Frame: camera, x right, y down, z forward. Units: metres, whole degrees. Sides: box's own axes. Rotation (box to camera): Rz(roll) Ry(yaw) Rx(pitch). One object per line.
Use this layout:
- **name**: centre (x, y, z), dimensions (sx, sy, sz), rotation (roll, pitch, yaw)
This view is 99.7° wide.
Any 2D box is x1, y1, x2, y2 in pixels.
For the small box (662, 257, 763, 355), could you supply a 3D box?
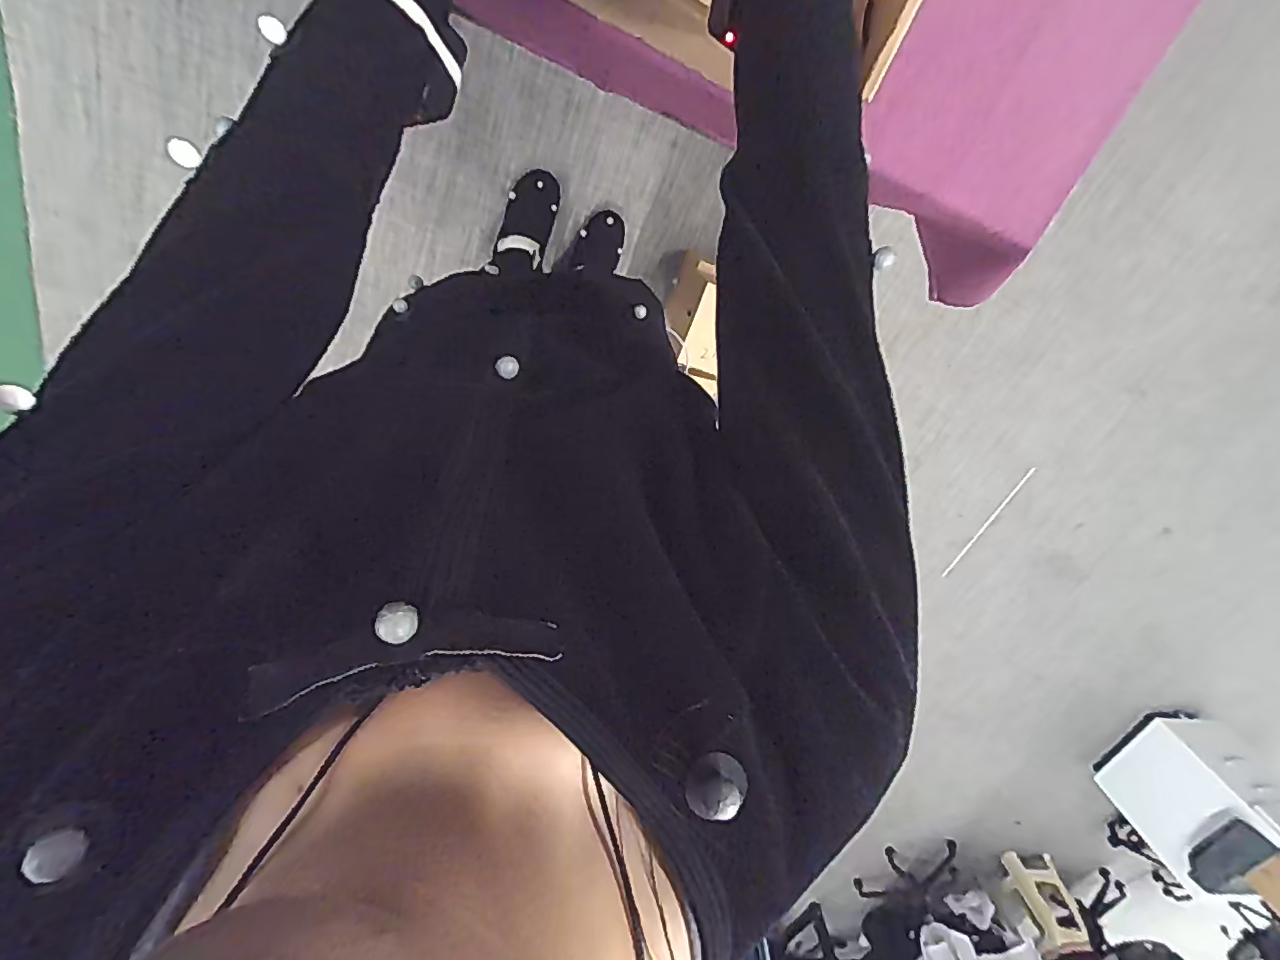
- **small box**: centre (0.170, -0.434, 1.333), dimensions (0.179, 0.176, 0.168), rotation (16, 117, -15)

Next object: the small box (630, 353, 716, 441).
- **small box**: centre (0.078, -0.228, 1.445), dimensions (0.179, 0.176, 0.168), rotation (11, 118, -14)
